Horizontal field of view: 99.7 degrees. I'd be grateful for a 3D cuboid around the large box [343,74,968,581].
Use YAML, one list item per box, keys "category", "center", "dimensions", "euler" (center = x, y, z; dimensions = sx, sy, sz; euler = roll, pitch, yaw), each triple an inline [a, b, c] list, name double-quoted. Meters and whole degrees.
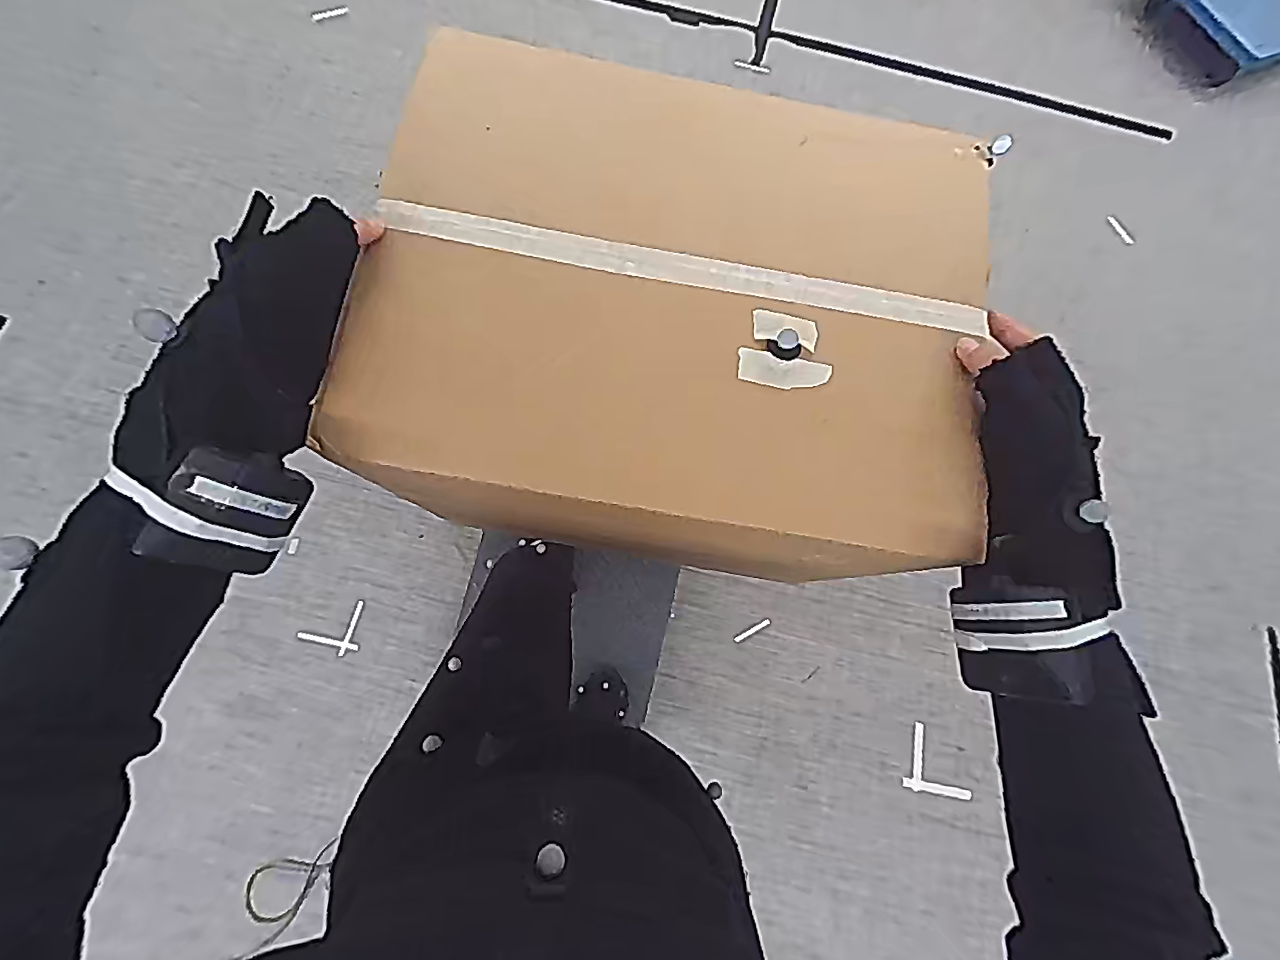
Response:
- category: "large box"
  center: [0.020, -0.093, 0.517]
  dimensions: [0.408, 0.320, 0.320]
  euler: [10, 77, -3]
